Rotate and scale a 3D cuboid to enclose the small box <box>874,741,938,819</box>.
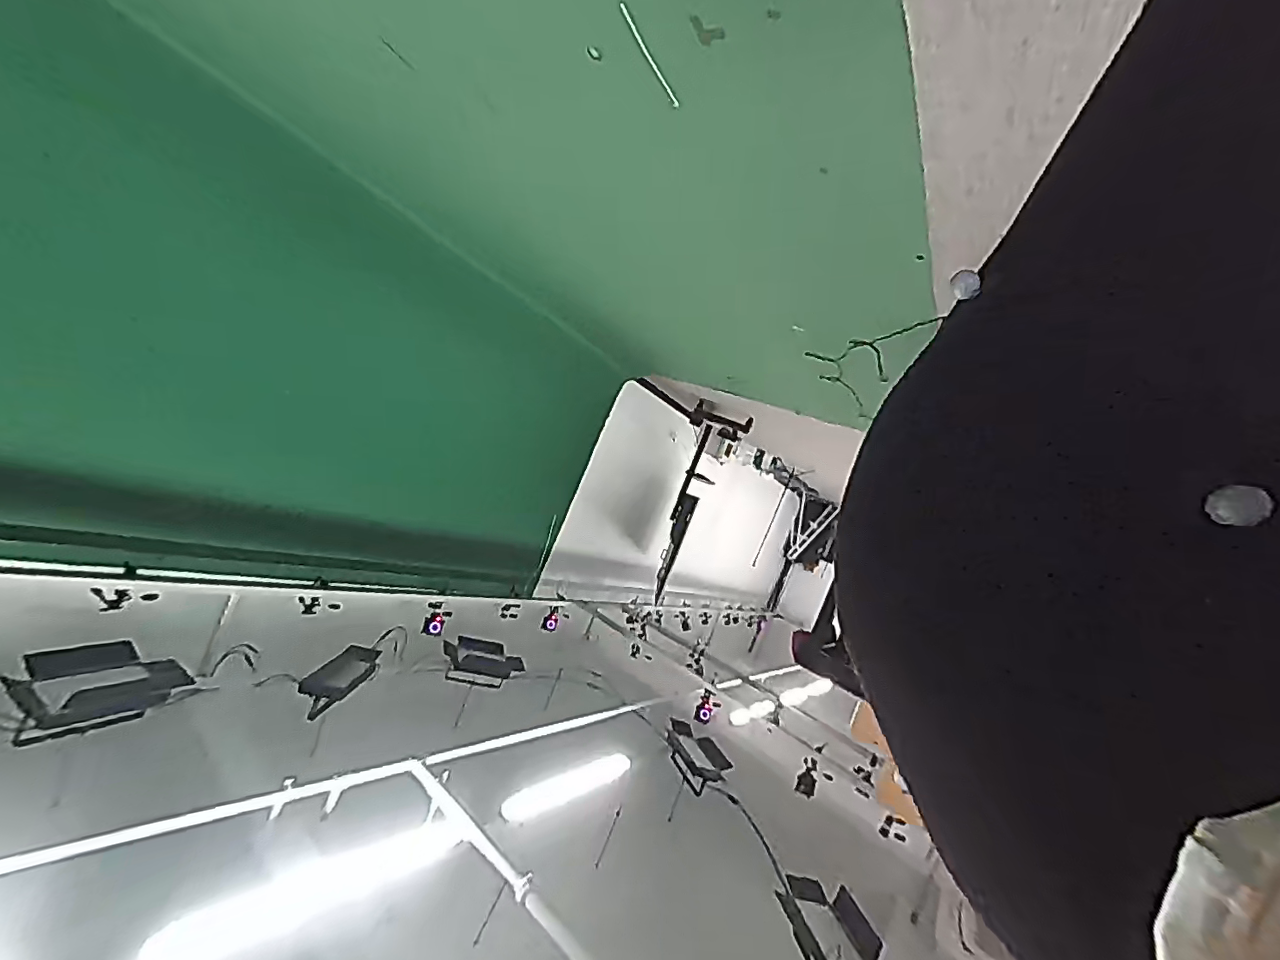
[{"bbox_3d":[0.981,1.088,1.982,0.168,0.176,0.179,23,-178,32],"label":"small box"}]

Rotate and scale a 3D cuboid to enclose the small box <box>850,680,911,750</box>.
[{"bbox_3d":[0.918,0.884,2.059,0.168,0.176,0.179,21,-178,26],"label":"small box"}]
